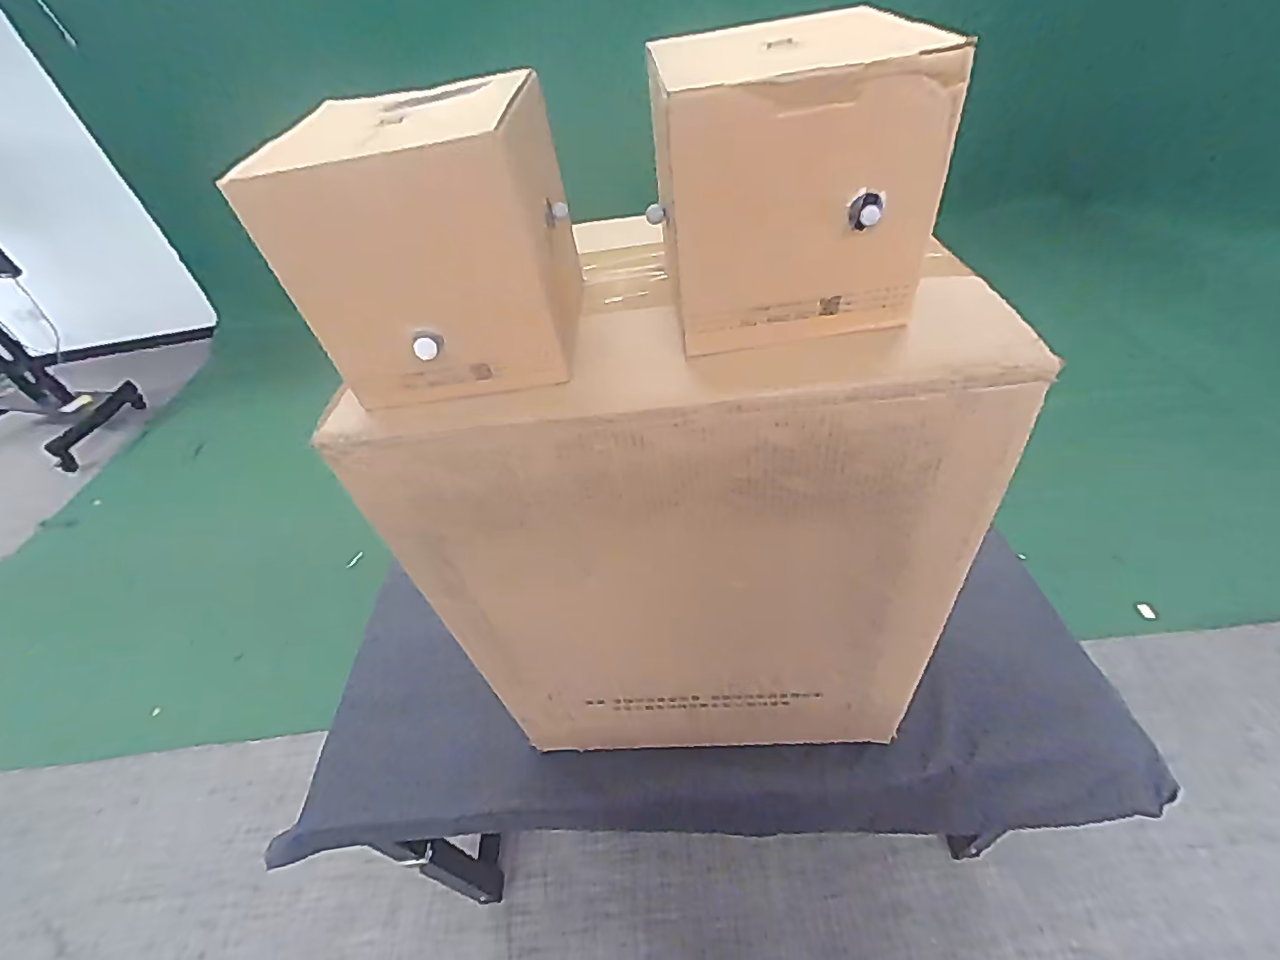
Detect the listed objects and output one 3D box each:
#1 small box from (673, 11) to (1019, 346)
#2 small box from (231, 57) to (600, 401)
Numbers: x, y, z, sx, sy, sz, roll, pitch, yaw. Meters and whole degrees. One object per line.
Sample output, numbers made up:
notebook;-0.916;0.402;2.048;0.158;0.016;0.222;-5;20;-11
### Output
small box;0.117;-0.210;0.392;0.168;0.176;0.179;-6;46;0
small box;-0.128;-0.180;0.396;0.168;0.176;0.179;-5;46;7
